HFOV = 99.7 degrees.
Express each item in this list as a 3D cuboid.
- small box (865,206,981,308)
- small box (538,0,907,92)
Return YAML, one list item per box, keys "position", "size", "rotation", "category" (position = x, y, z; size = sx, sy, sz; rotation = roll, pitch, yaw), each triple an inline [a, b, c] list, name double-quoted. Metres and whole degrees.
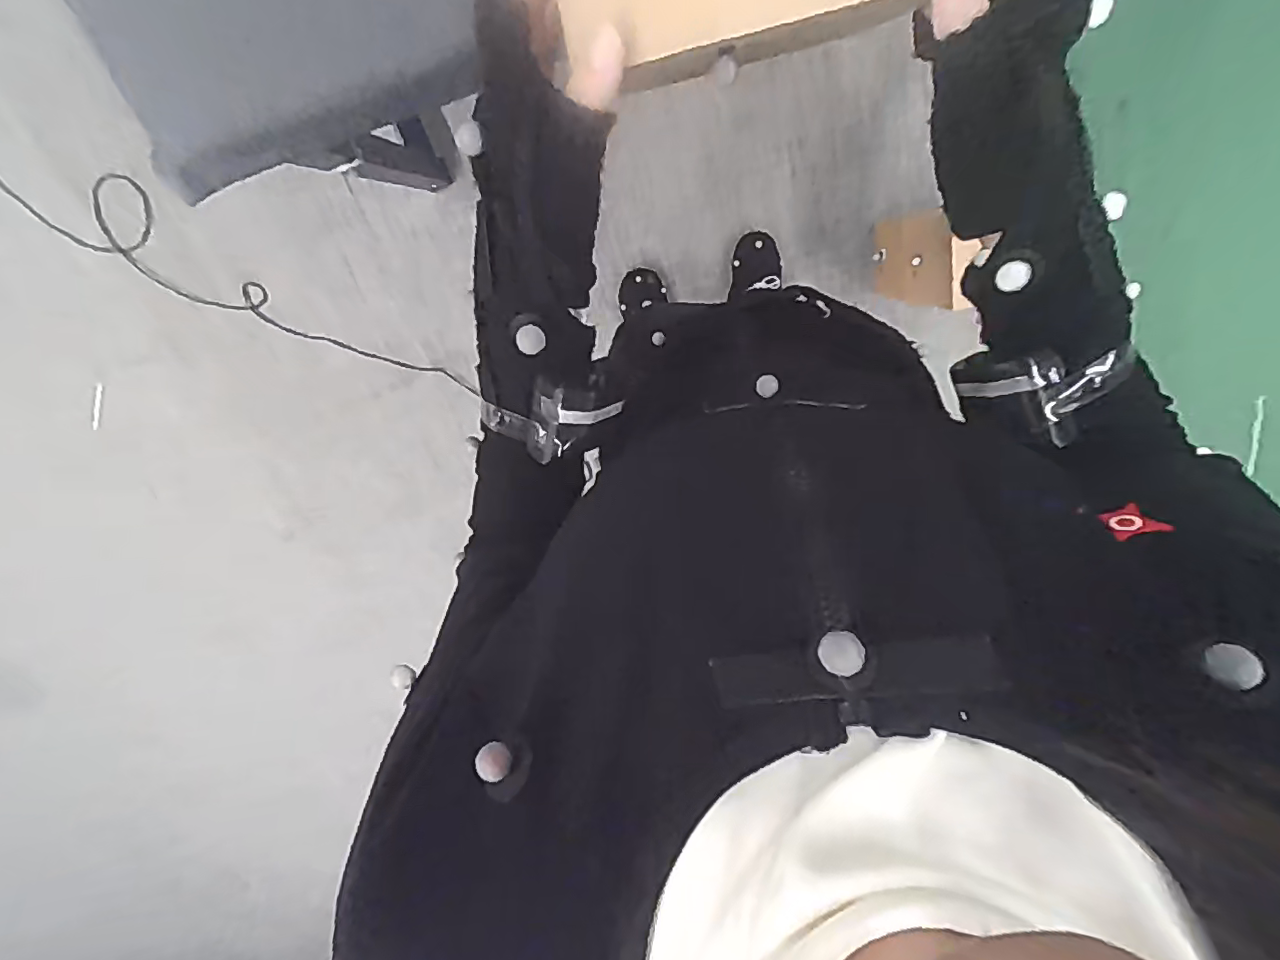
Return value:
- position: [0.619, -0.490, 1.189]
  size: [0.179, 0.176, 0.168]
  rotation: [-13, 112, 6]
  category: "small box"
- position: [0.037, -0.293, 0.242]
  size: [0.179, 0.176, 0.168]
  rotation: [-9, 122, 5]
  category: "small box"
